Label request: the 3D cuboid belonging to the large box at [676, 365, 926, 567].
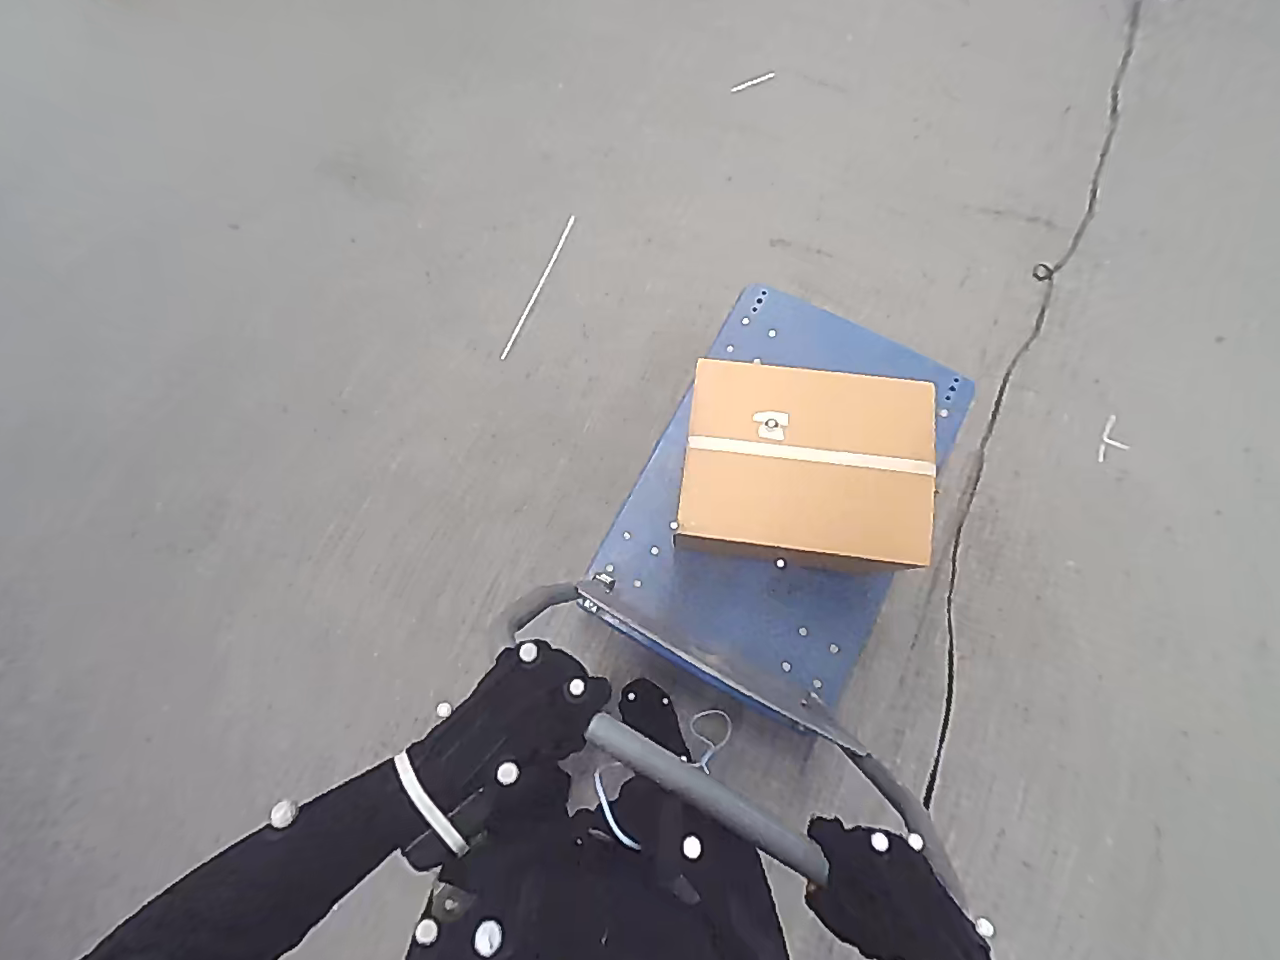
[{"bbox_3d":[0.288,-0.007,1.058,0.408,0.320,0.320,7,78,6],"label":"large box"}]
